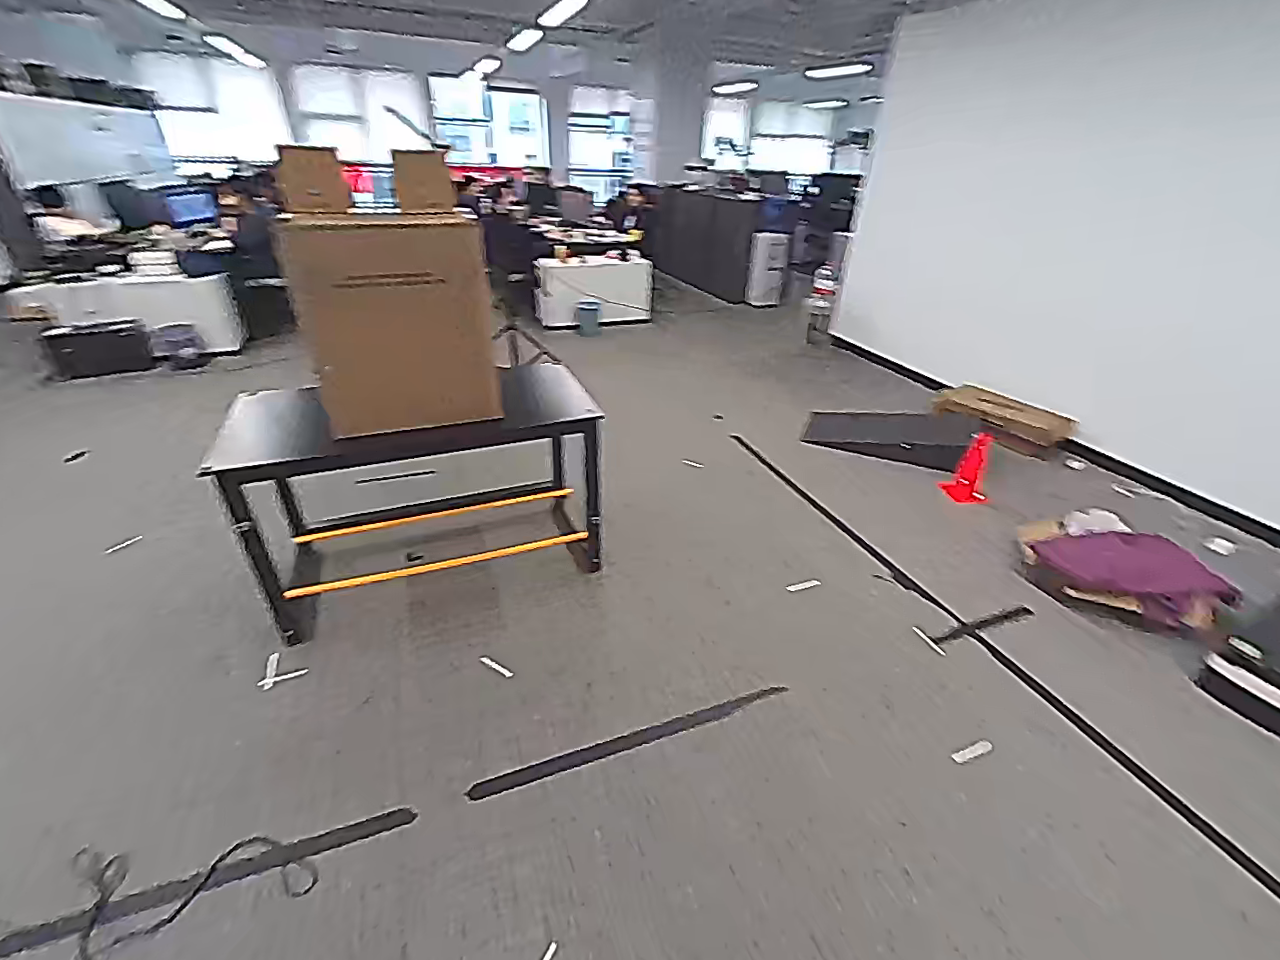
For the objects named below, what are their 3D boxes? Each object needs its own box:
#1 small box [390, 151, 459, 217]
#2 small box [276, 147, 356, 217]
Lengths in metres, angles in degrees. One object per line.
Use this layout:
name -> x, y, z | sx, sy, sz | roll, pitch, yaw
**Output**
small box -> -0.665, -0.913, 1.668 | 0.168, 0.176, 0.179 | -13, 33, -21
small box -> -0.949, -0.878, 1.596 | 0.168, 0.176, 0.179 | -11, 32, -21
